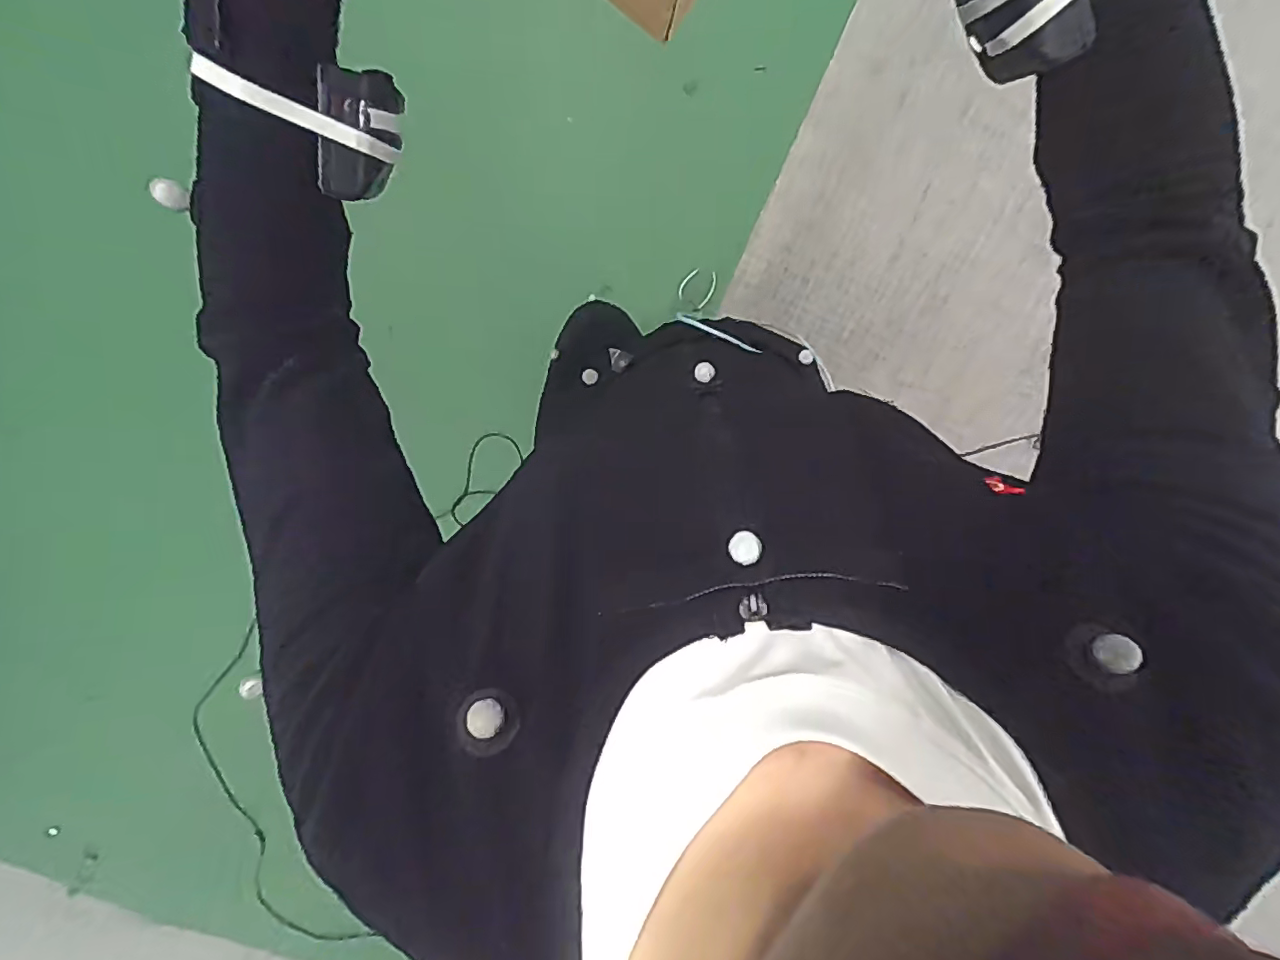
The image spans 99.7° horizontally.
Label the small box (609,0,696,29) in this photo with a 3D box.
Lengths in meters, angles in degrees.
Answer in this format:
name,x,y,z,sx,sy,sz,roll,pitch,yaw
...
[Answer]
name,x,y,z,sx,sy,sz,roll,pitch,yaw
small box,-0.002,-0.390,0.271,0.179,0.176,0.168,31,104,-14
